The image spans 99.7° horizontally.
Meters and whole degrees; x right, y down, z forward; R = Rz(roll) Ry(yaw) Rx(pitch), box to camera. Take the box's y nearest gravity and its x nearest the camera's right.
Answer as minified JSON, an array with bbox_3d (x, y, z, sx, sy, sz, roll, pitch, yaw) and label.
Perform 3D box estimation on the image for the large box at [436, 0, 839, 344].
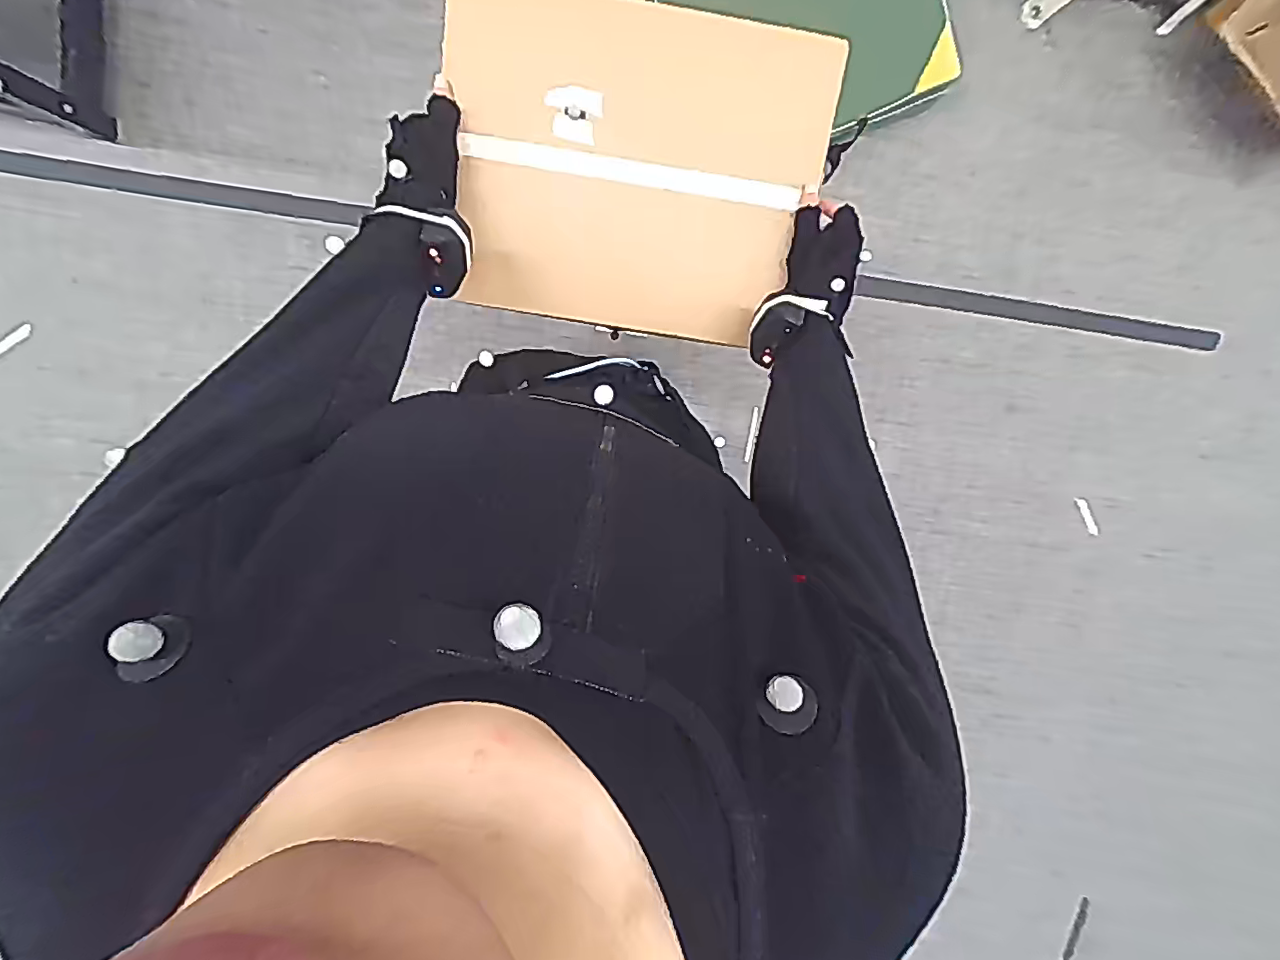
[{"bbox_3d":[-0.011,-0.371,0.725,0.408,0.320,0.320,9,104,-2],"label":"large box"}]
